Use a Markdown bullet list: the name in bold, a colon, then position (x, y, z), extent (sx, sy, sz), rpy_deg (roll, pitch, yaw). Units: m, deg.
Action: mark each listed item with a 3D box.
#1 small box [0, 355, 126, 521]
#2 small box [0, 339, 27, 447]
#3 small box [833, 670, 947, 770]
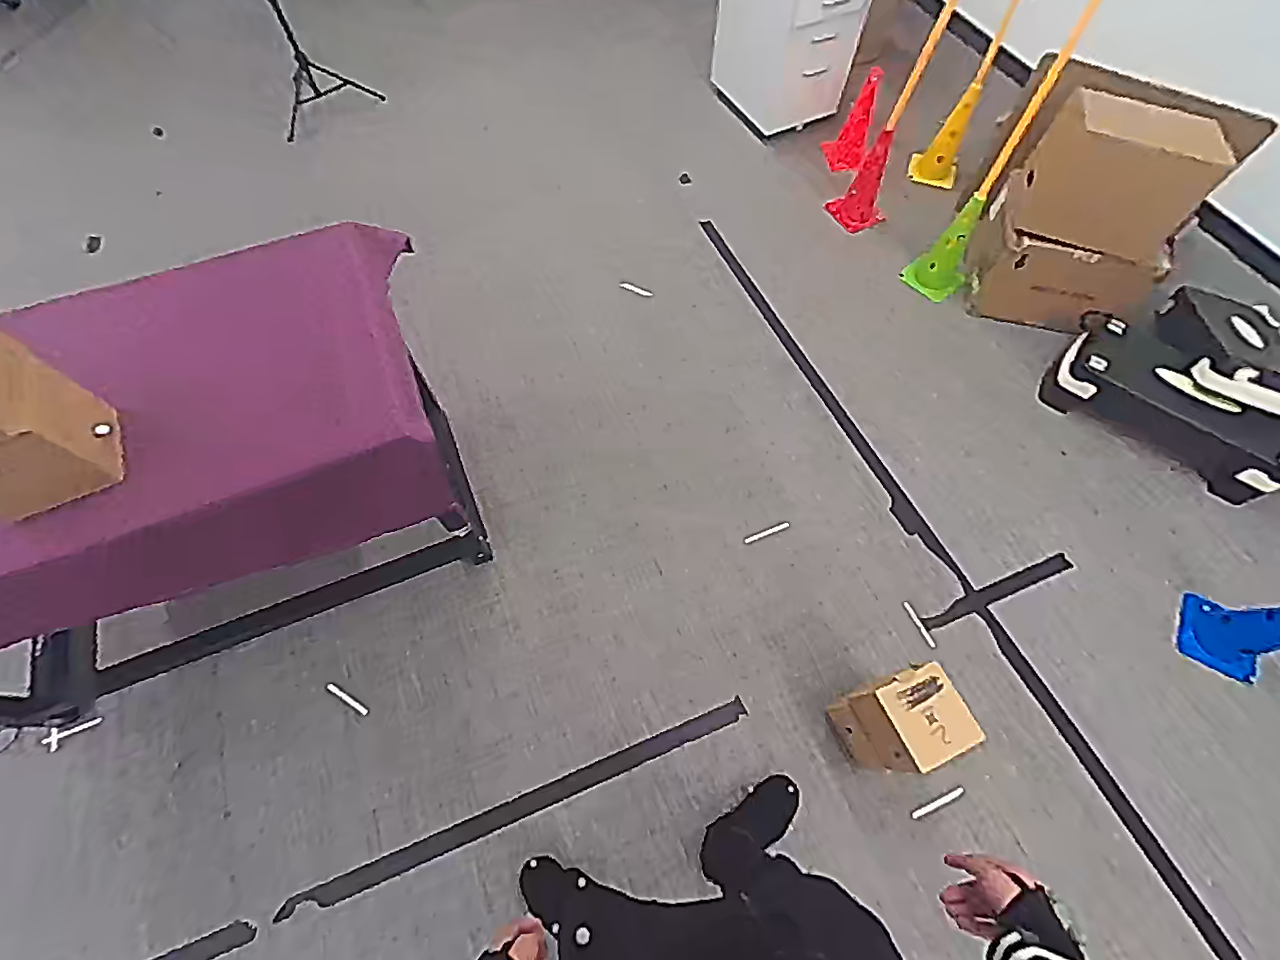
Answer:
- **small box**: position (-0.985, -0.059, 0.861), extent (0.179, 0.176, 0.168), rpy_deg (-25, 66, -12)
- **small box**: position (-0.987, -0.136, 0.715), extent (0.168, 0.176, 0.179), rpy_deg (-20, 65, -9)
- **small box**: position (0.609, 0.602, 1.352), extent (0.179, 0.176, 0.168), rpy_deg (-25, 66, -12)
